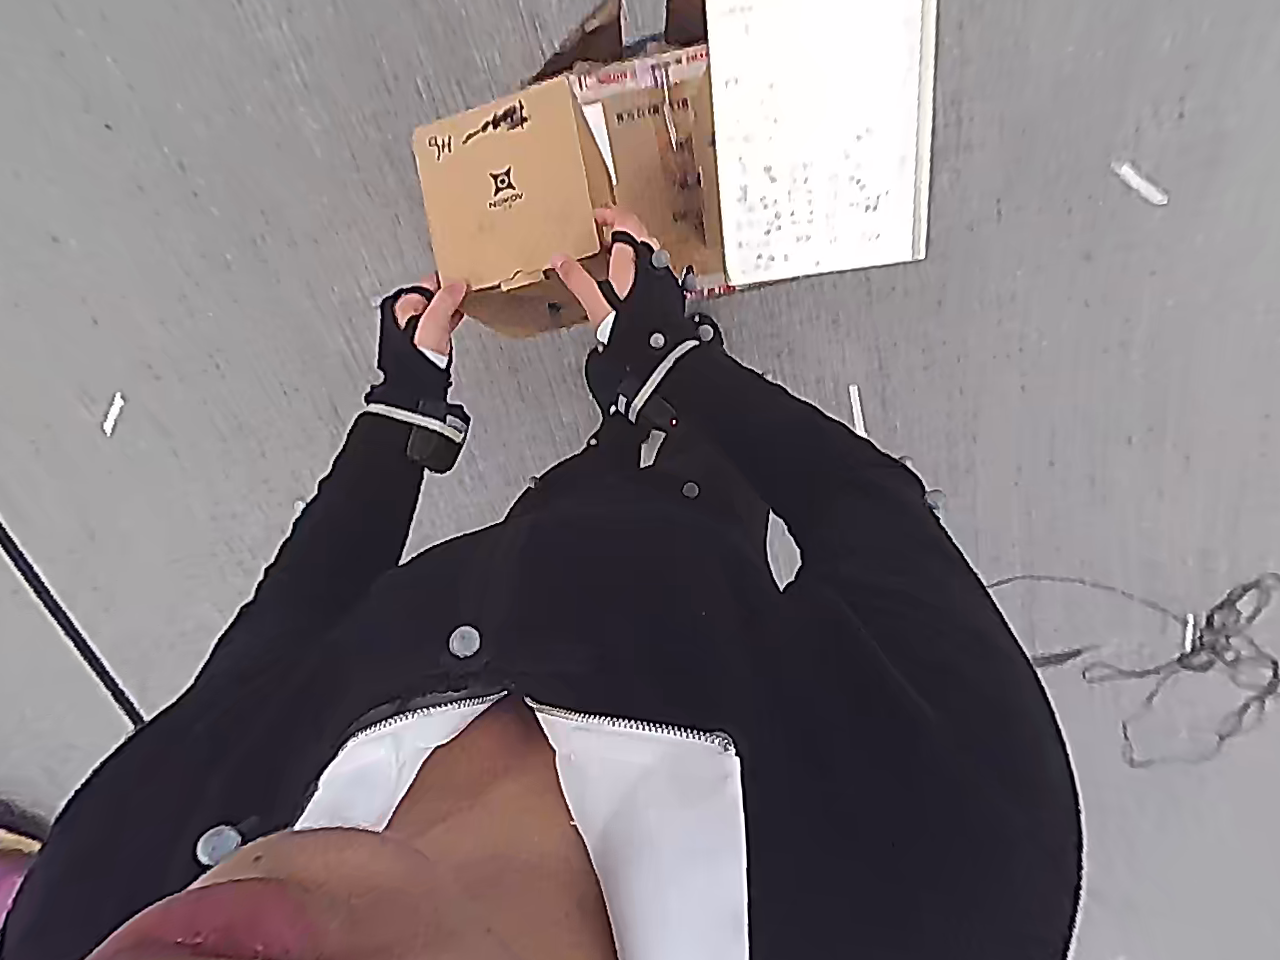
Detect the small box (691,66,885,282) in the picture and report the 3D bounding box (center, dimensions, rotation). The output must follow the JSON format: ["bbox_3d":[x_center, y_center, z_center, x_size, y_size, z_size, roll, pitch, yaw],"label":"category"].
[{"bbox_3d":[0.155,-0.323,0.608,0.168,0.176,0.179,-8,111,0],"label":"small box"}]
